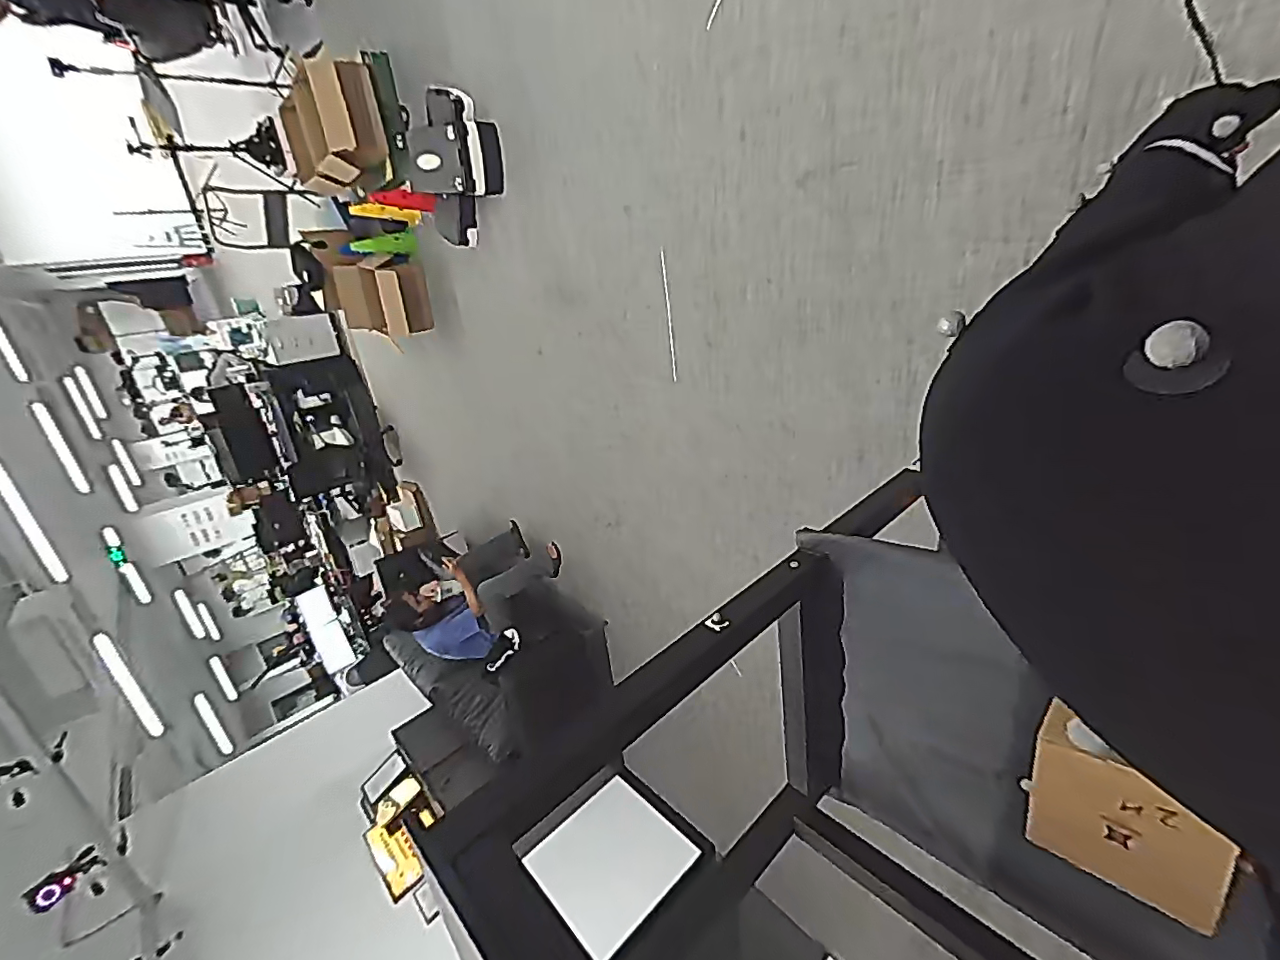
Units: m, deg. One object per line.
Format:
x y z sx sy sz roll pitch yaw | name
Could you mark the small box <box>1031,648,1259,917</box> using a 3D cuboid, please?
0.590 0.338 0.638 0.168 0.176 0.179 13 121 46 | small box
